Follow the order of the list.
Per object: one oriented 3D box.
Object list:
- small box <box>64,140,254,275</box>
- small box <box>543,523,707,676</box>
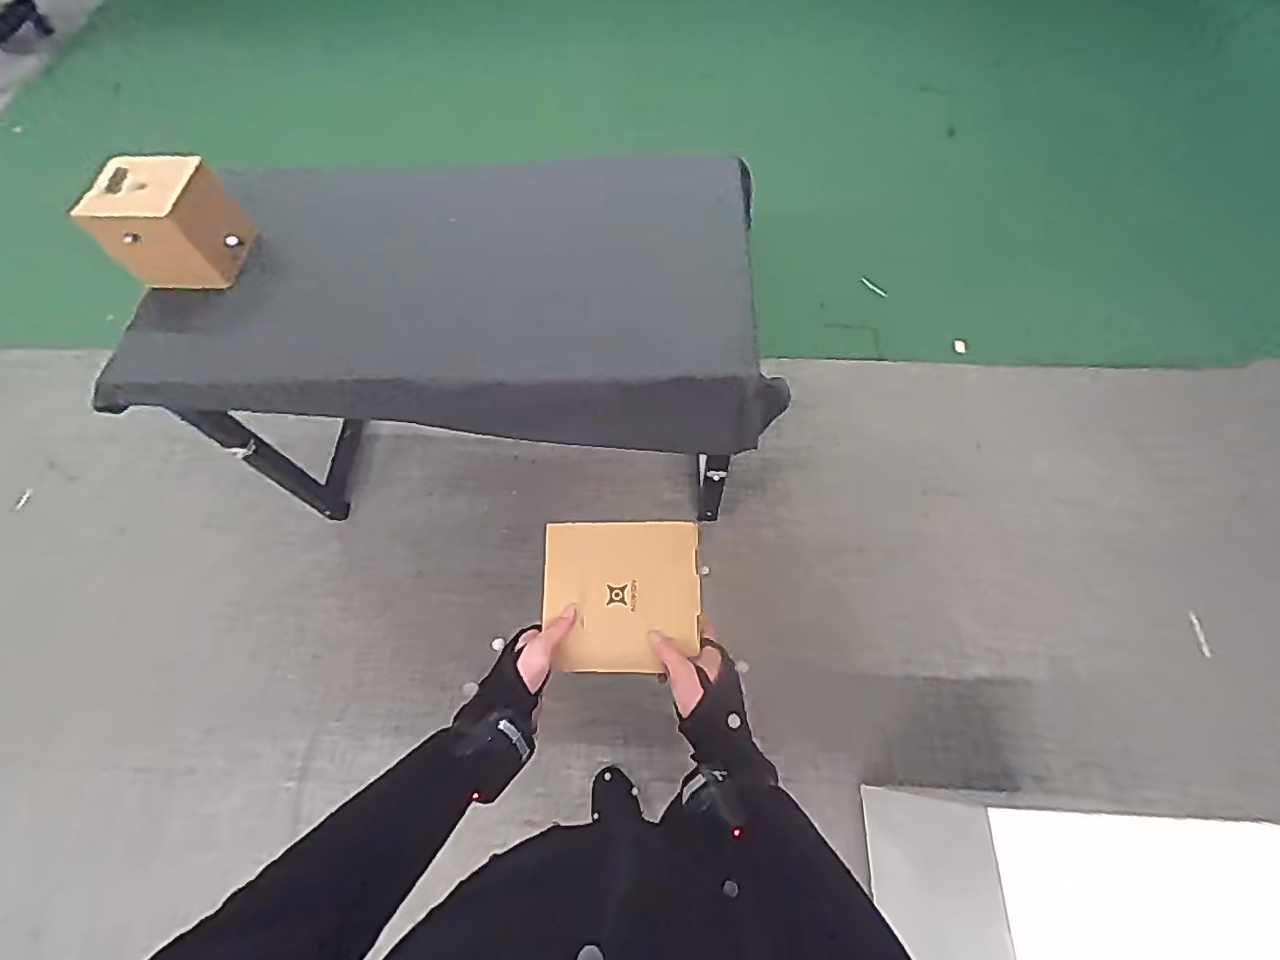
[{"bbox_3d":[-0.894,-0.511,1.026,0.179,0.176,0.168,2,64,1],"label":"small box"},{"bbox_3d":[-0.012,0.149,0.667,0.179,0.176,0.168,-2,73,4],"label":"small box"}]
